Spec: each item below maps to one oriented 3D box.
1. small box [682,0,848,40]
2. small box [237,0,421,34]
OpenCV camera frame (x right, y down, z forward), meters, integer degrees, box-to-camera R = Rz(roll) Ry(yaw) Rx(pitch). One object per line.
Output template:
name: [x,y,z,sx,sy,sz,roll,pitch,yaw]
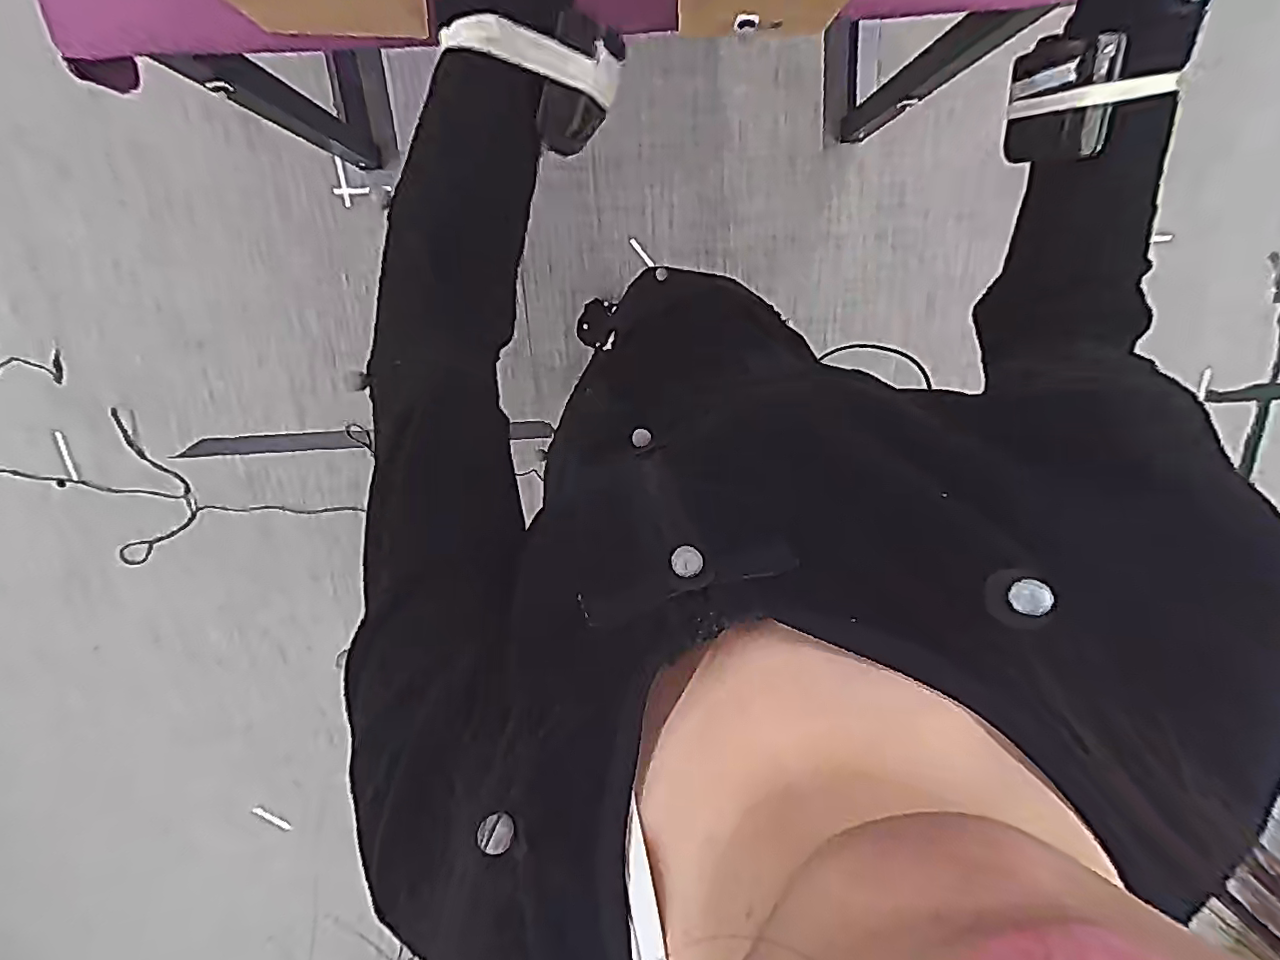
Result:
small box: [0.127,-0.554,0.504,0.168,0.176,0.179,-3,109,0]
small box: [-0.311,-0.539,0.488,0.179,0.176,0.168,0,108,-2]
